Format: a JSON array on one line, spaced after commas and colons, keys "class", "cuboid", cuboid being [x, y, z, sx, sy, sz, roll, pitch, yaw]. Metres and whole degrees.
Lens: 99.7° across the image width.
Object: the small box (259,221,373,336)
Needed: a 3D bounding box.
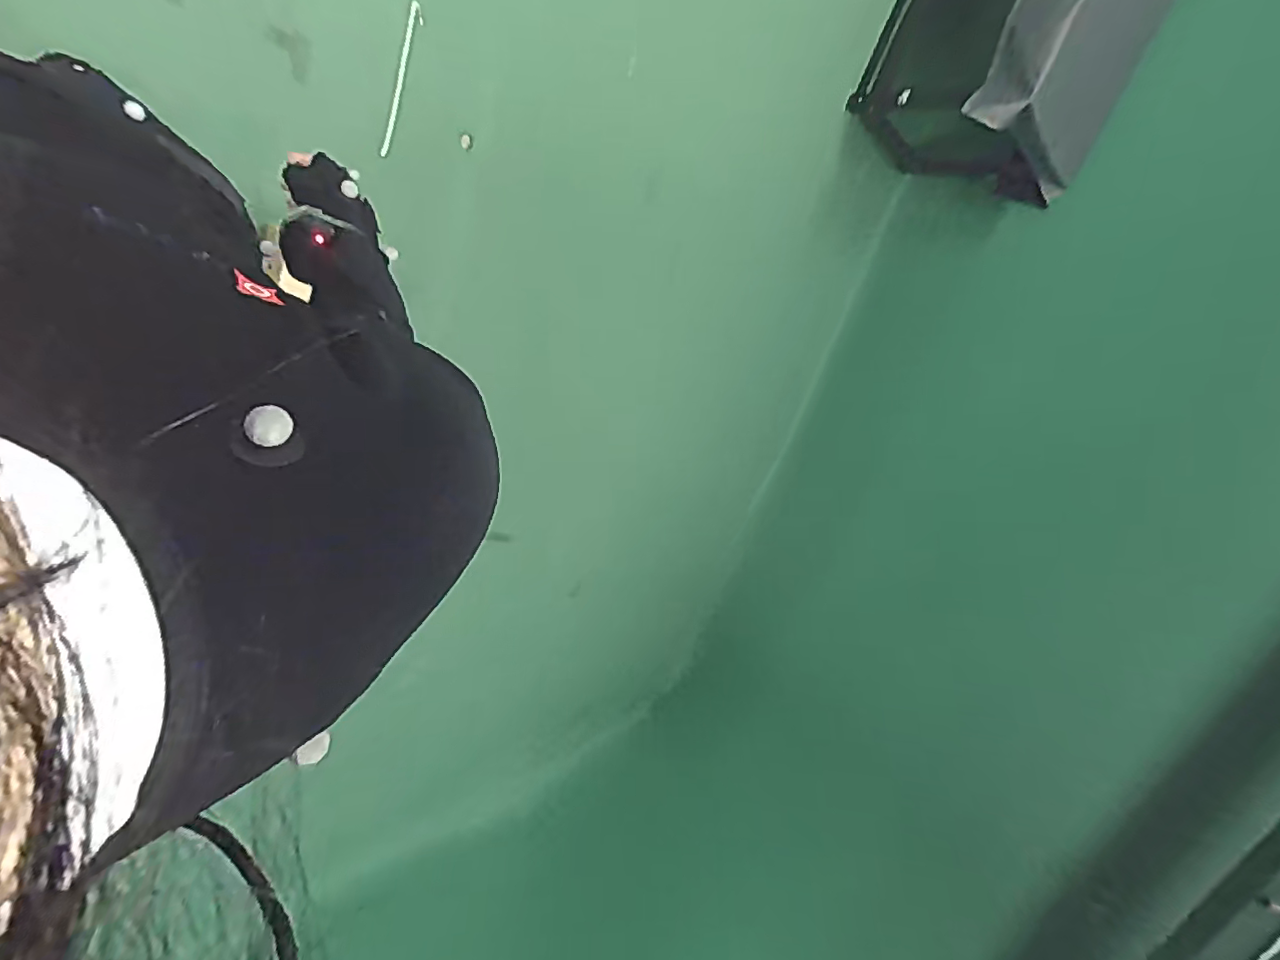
[{"class": "small box", "cuboid": [-0.723, -0.446, 1.198, 0.168, 0.176, 0.179, 3, 115, -49]}]
